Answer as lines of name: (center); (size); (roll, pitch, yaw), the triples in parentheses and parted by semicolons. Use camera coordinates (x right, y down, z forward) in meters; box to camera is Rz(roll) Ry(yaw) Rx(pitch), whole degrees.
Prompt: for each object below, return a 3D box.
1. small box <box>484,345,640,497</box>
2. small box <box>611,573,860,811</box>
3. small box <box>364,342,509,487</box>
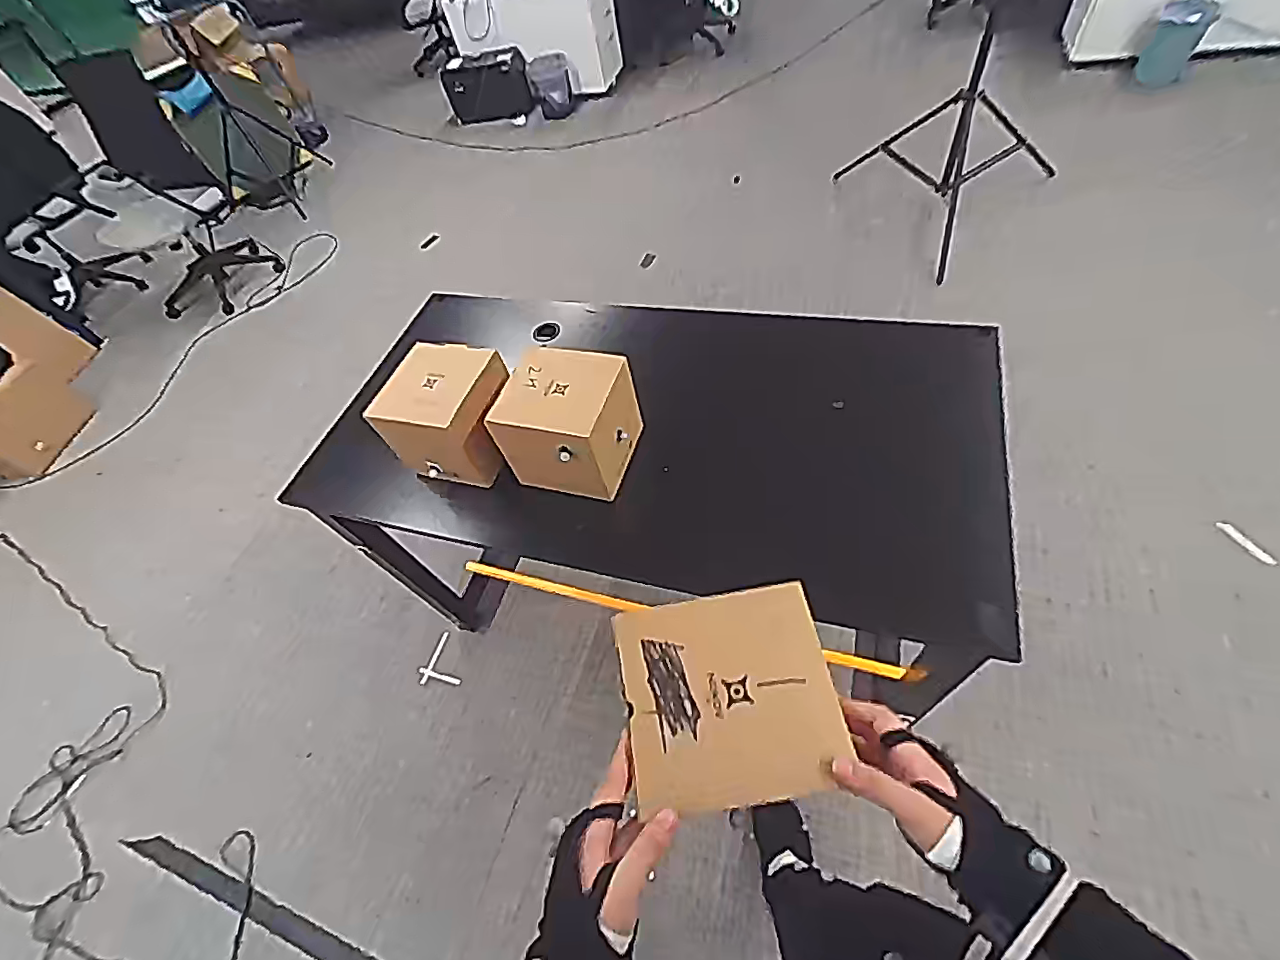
small box: (-0.112, -0.091, 0.874); (0.179, 0.176, 0.168); (10, 58, 18)
small box: (0.079, 0.208, 0.513); (0.179, 0.176, 0.168); (-10, 58, 0)
small box: (-0.322, -0.113, 0.934); (0.168, 0.176, 0.179); (8, 58, 19)
